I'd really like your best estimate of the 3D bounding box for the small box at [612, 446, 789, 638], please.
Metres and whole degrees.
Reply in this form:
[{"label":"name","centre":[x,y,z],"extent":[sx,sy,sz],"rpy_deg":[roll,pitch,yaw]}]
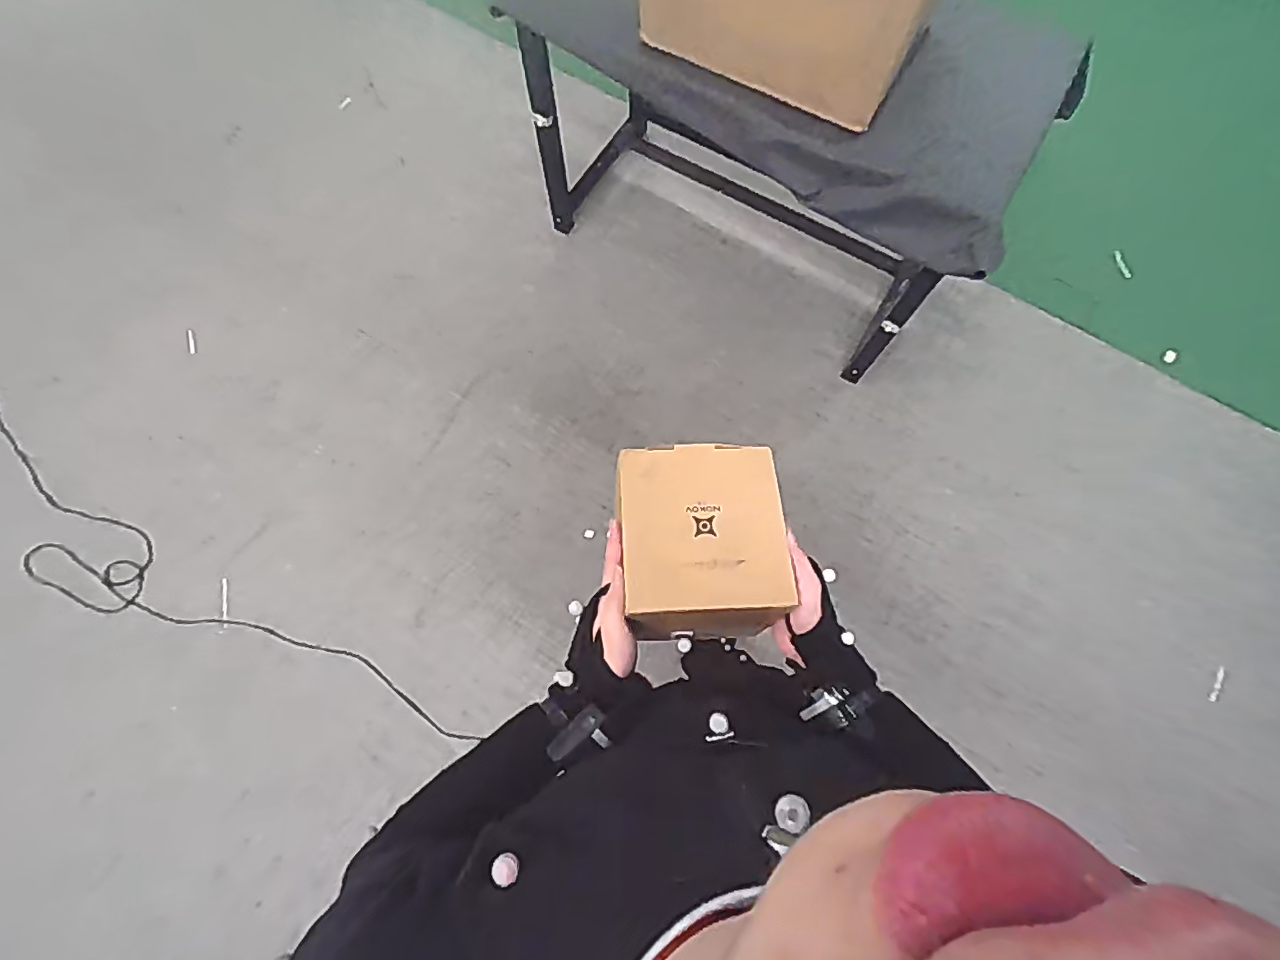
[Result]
[{"label":"small box","centre":[0.054,0.076,0.622],"extent":[0.168,0.176,0.179],"rpy_deg":[-2,65,-5]}]
